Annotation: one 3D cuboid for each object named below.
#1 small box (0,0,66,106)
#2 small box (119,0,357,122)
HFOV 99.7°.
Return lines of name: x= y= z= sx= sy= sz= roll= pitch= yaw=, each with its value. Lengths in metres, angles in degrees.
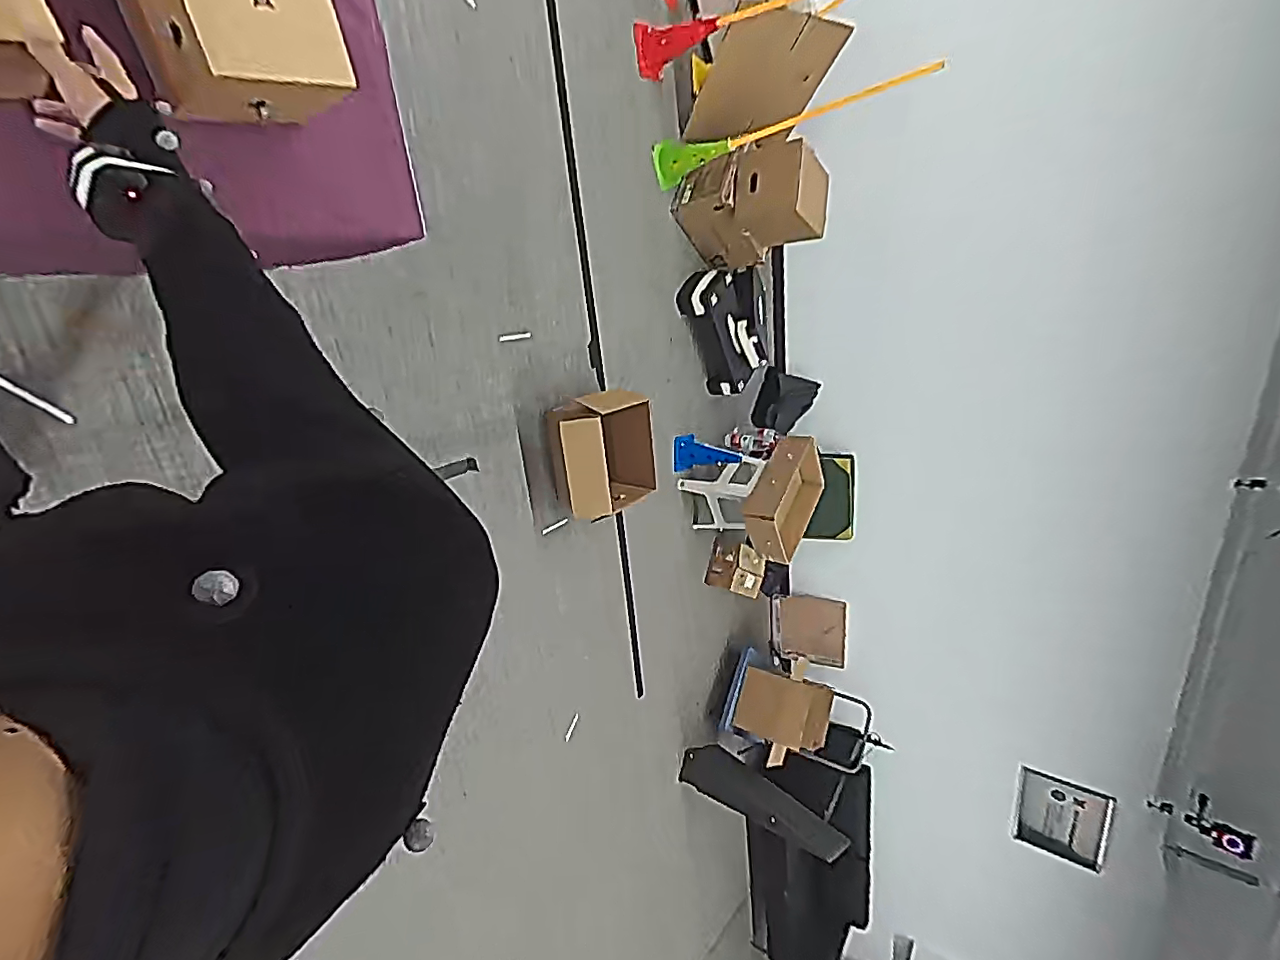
small box: x=-0.642 y=-0.433 z=0.441 sx=0.168 sy=0.176 sz=0.179 roll=-40 pitch=127 yaw=-41
small box: x=-0.478 y=-0.542 z=0.636 sx=0.168 sy=0.176 sz=0.179 roll=-36 pitch=124 yaw=-44
